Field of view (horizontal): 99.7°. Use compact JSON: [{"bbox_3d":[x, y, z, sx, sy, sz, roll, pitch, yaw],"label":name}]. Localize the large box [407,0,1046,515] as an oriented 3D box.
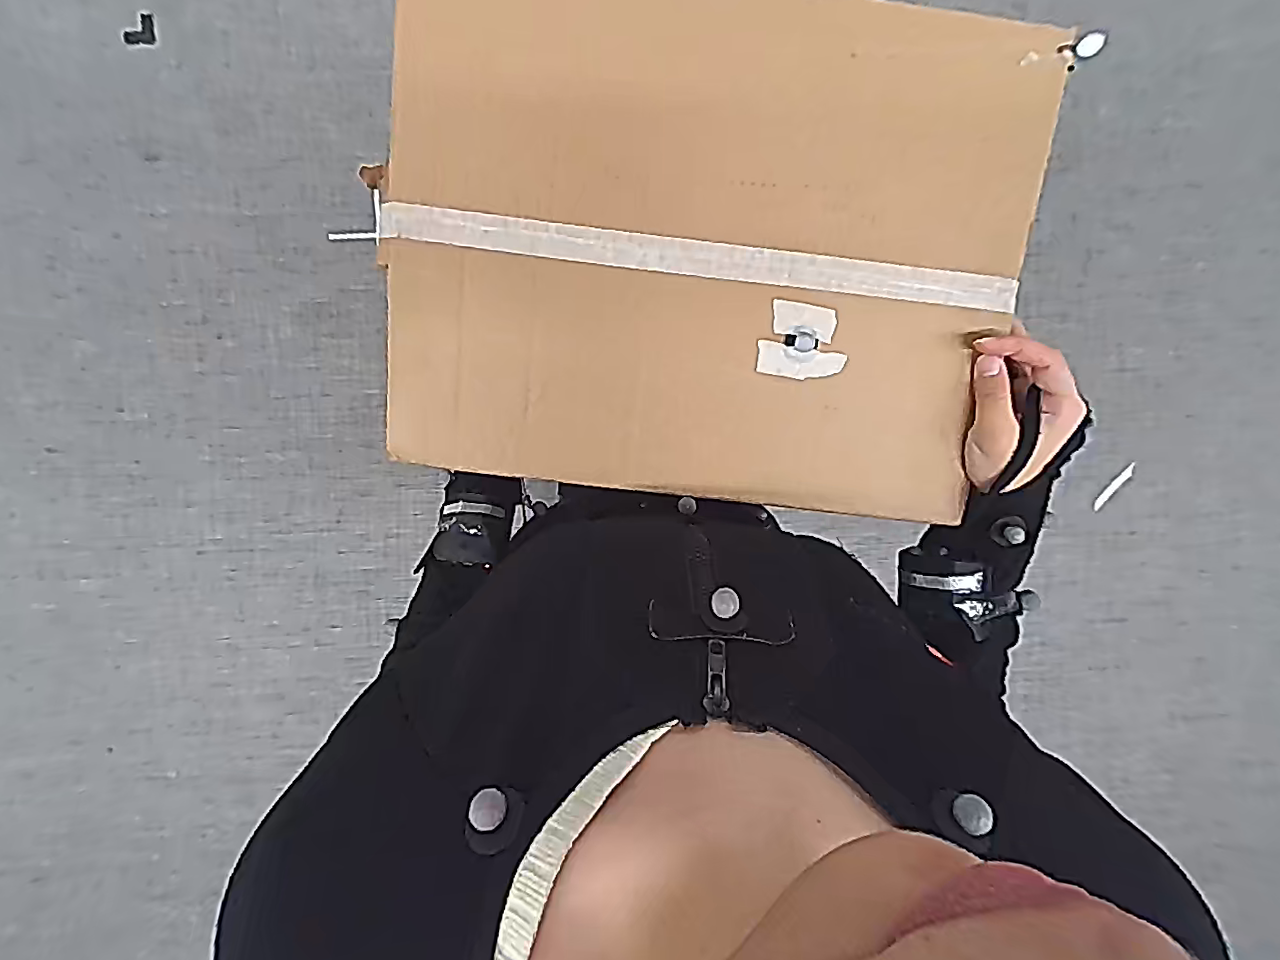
[{"bbox_3d":[0.041,-0.167,0.505,0.408,0.320,0.320,6,102,-3],"label":"large box"}]
